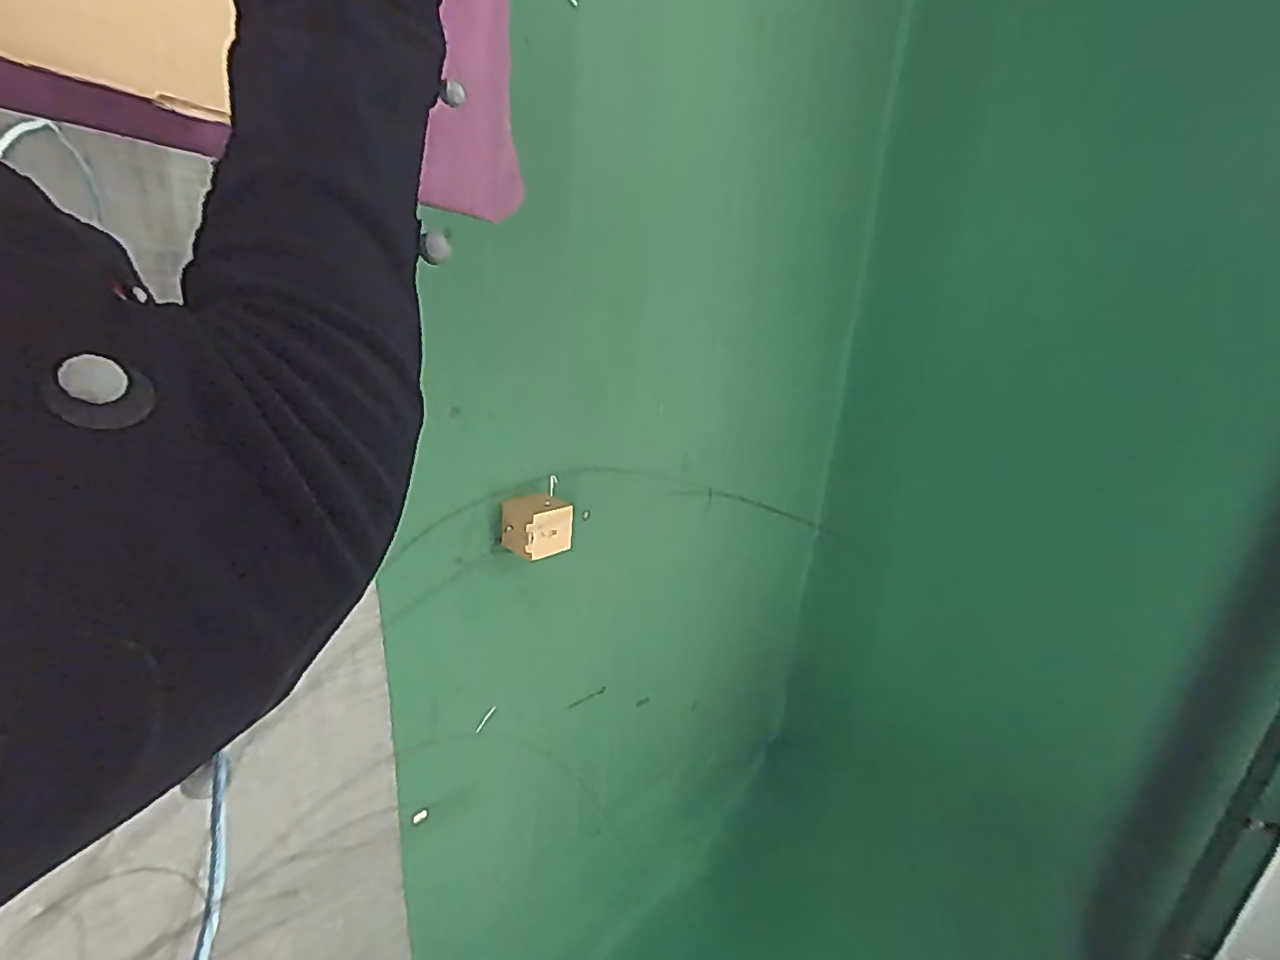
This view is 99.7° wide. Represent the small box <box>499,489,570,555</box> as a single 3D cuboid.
[{"bbox_3d":[-0.368,0.140,1.883,0.179,0.176,0.168,-12,114,-46],"label":"small box"}]
